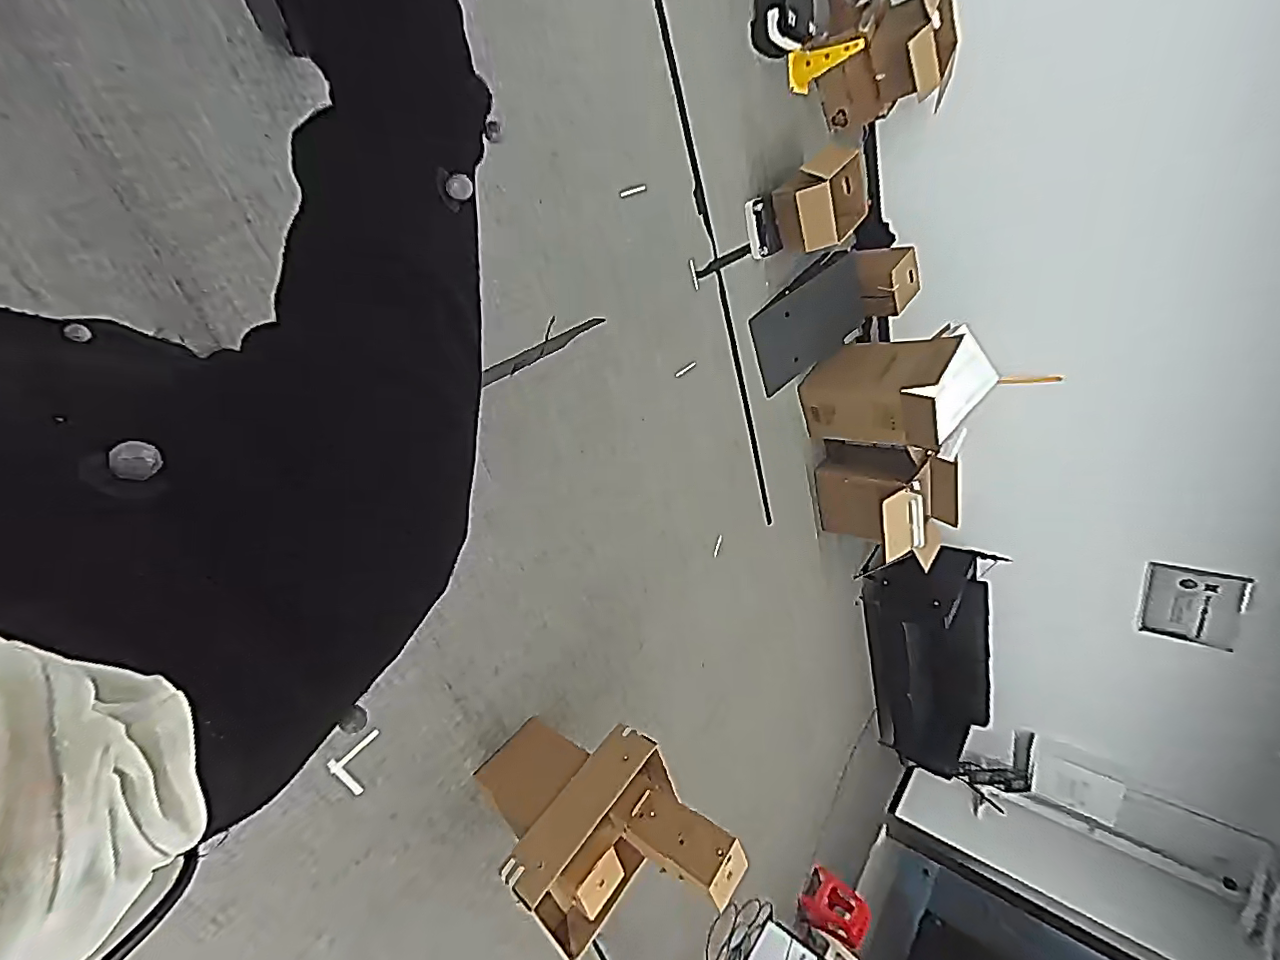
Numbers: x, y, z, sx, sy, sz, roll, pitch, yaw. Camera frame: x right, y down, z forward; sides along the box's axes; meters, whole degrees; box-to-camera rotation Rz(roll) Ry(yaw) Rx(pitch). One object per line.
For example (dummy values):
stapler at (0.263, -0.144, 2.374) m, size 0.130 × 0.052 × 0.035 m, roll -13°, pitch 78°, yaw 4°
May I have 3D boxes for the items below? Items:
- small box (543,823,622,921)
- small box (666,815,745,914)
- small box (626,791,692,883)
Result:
small box at (-0.191, 1.289, 1.791) m, size 0.168 × 0.176 × 0.179 m, roll -38°, pitch 123°, yaw -38°
small box at (0.207, 1.214, 1.721) m, size 0.168 × 0.176 × 0.179 m, roll -42°, pitch 127°, yaw -35°
small box at (0.081, 1.196, 1.826) m, size 0.168 × 0.176 × 0.179 m, roll -42°, pitch 126°, yaw -35°
